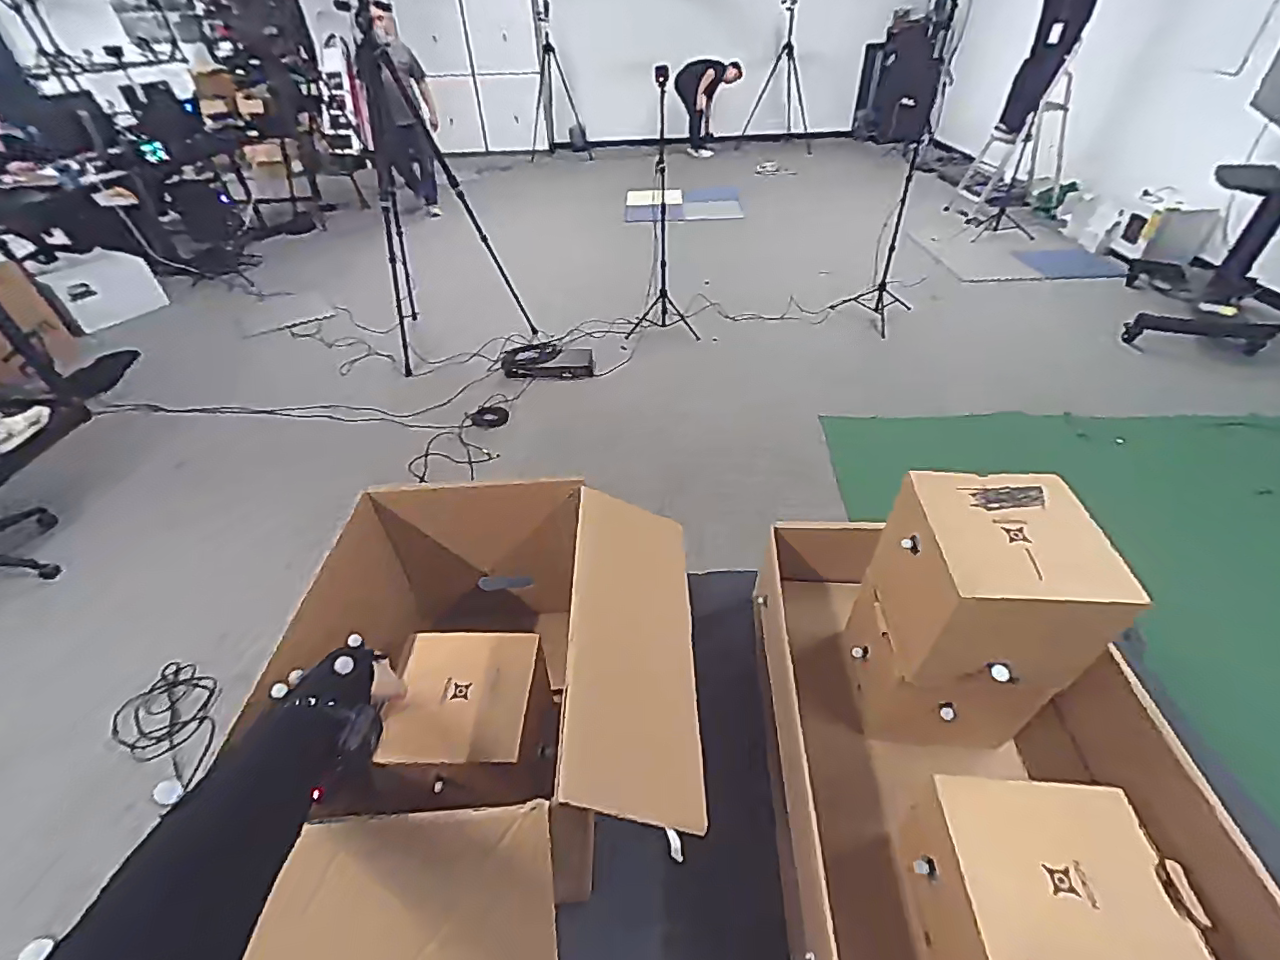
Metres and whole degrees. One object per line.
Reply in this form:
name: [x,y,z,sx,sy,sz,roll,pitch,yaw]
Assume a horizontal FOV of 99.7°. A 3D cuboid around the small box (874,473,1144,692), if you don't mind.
small box: [0.381,0.112,0.605,0.168,0.176,0.179,1,43,5]
